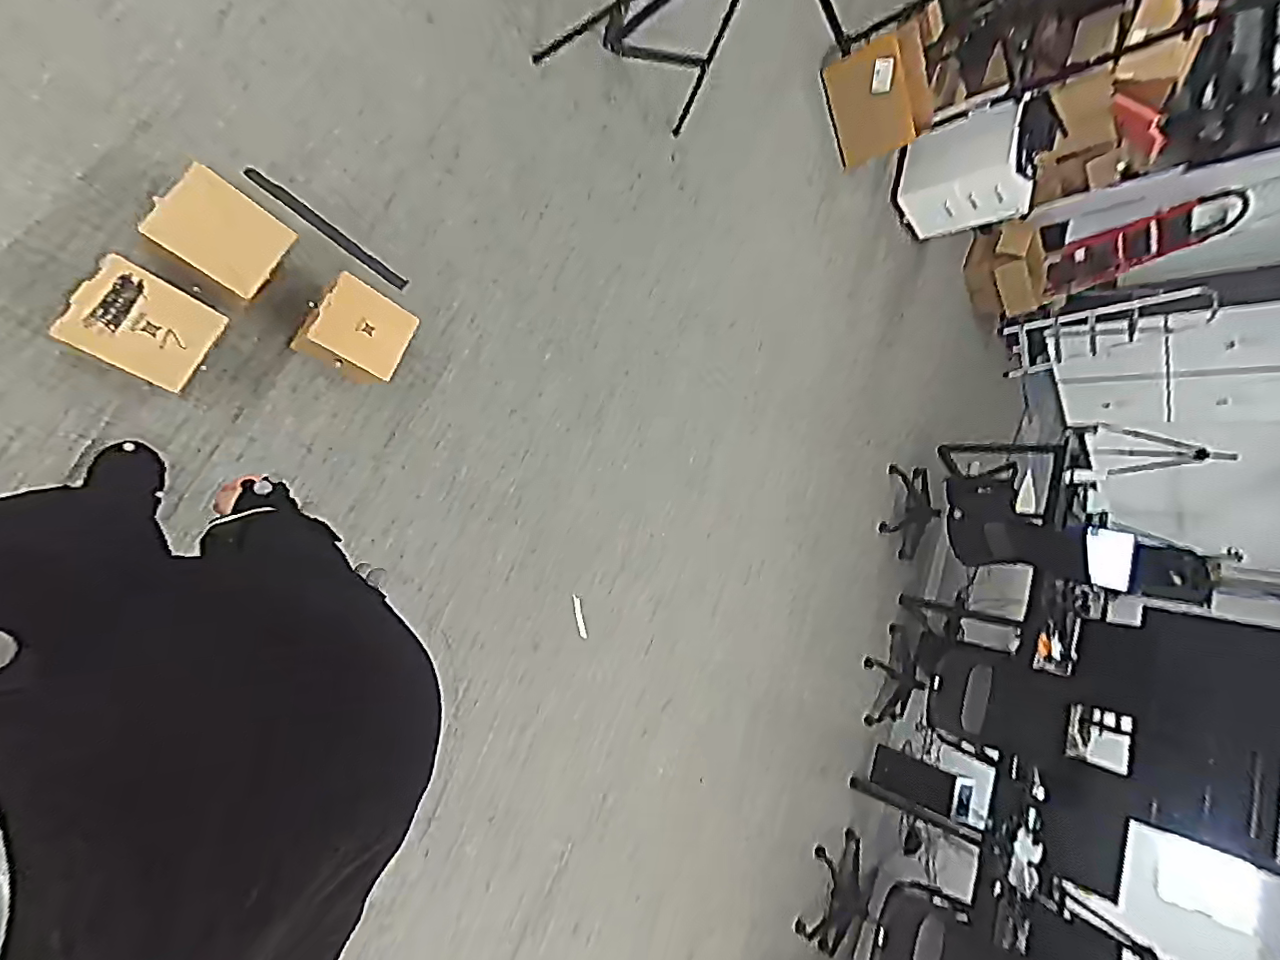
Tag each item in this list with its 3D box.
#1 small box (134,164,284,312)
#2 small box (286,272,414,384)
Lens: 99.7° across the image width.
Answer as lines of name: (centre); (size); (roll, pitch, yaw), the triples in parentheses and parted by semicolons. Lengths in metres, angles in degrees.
small box: (-0.812, -0.452, 1.029); (0.179, 0.176, 0.168); (39, 67, -38)
small box: (-0.646, -0.327, 1.202); (0.179, 0.176, 0.168); (32, 72, -39)
